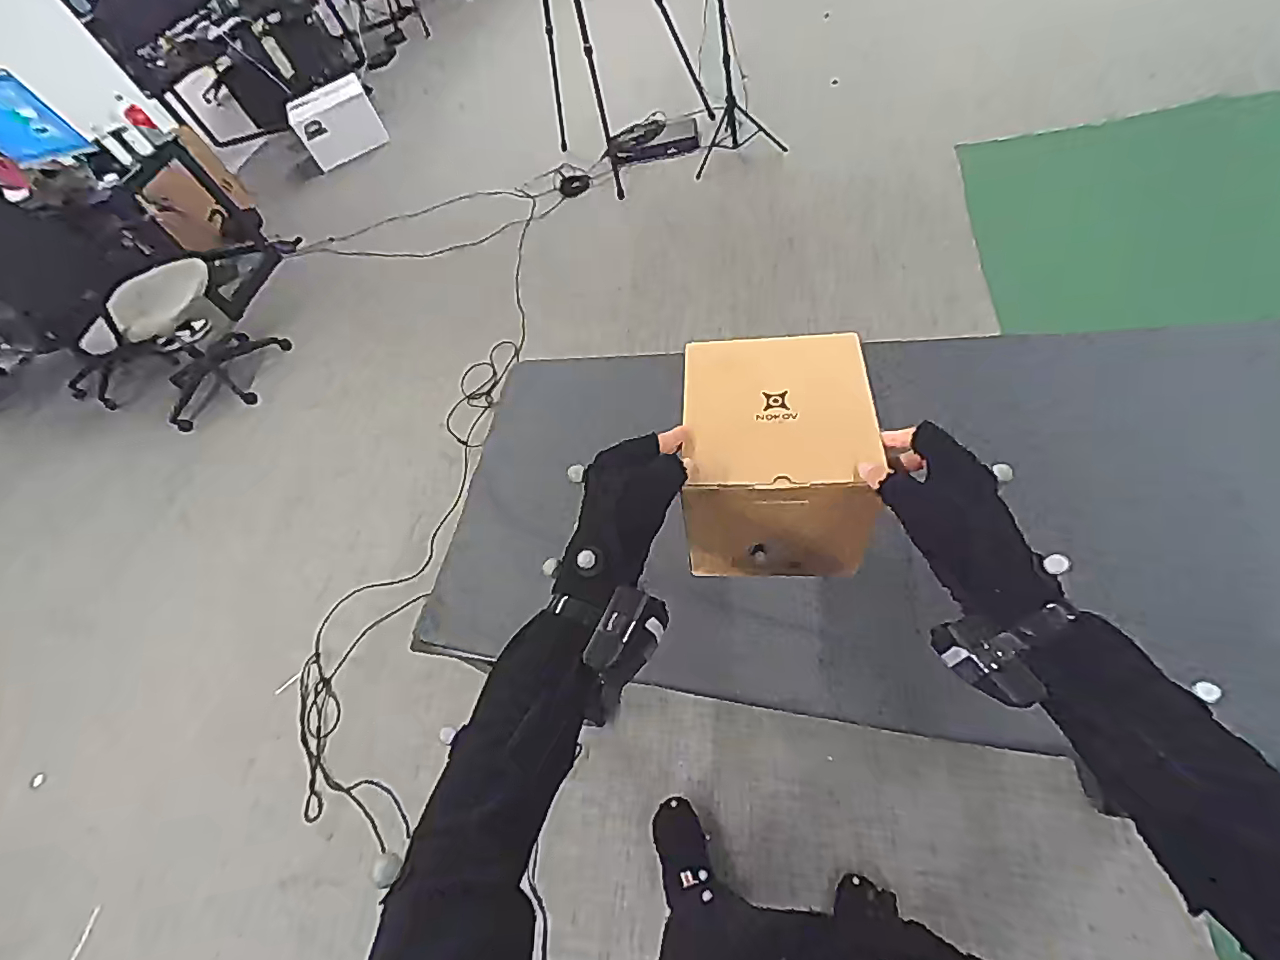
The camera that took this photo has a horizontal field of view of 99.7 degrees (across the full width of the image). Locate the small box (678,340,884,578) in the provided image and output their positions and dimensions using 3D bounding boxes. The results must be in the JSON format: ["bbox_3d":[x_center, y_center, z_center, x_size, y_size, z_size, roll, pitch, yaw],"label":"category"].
[{"bbox_3d":[0.128,-0.017,0.546,0.168,0.176,0.179,-1,56,9],"label":"small box"}]
